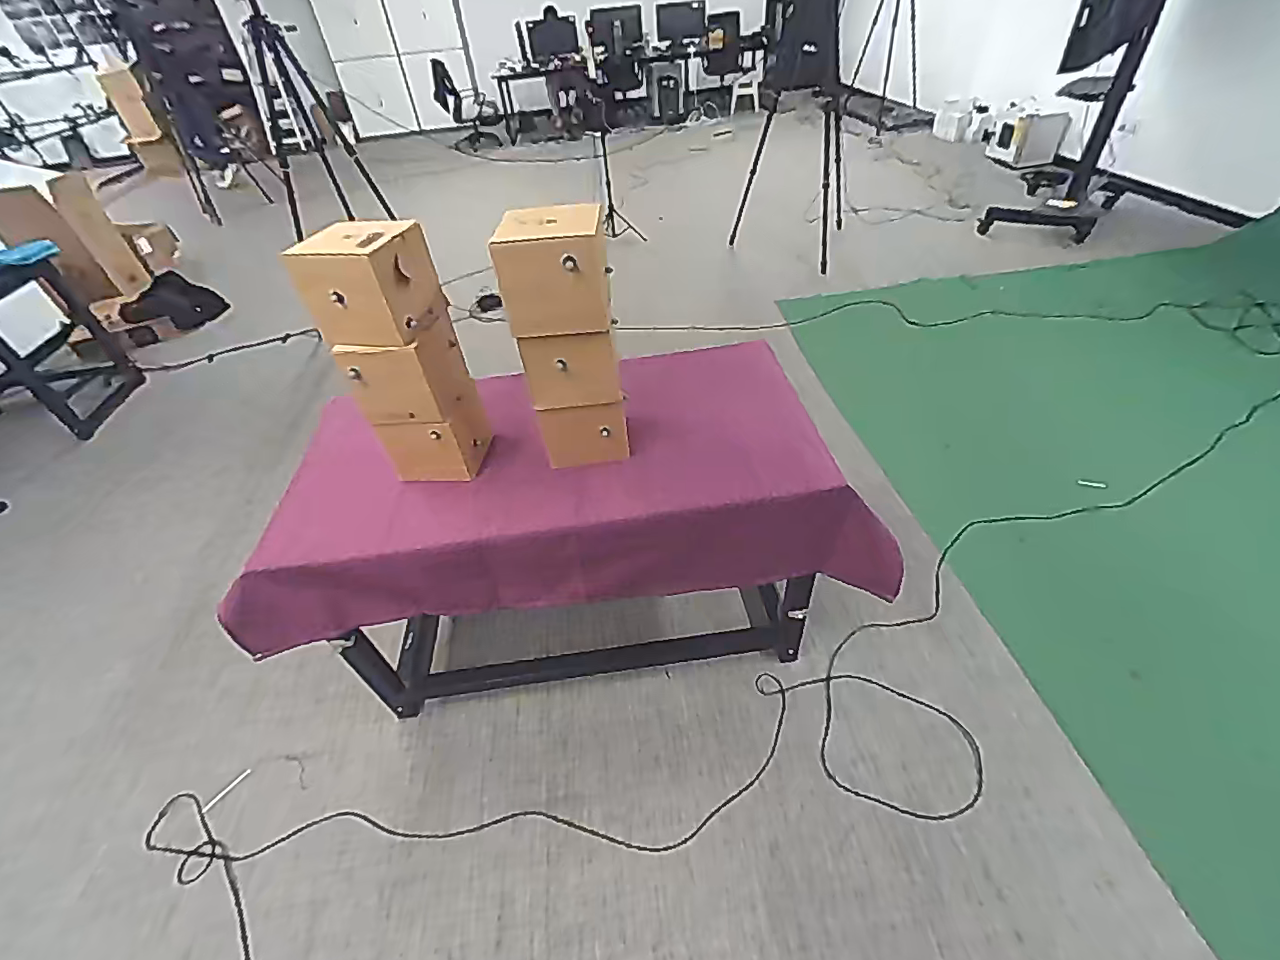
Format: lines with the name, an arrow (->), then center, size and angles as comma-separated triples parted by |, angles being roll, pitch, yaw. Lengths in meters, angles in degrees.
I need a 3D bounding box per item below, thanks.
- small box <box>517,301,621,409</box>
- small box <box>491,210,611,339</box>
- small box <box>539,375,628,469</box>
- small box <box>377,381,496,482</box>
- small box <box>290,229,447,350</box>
small box -> -0.137, -0.260, 1.107 | 0.179, 0.176, 0.168 | -6, 42, 2
small box -> -0.149, -0.372, 0.985 | 0.179, 0.176, 0.168 | -4, 41, 4
small box -> -0.120, -0.145, 1.222 | 0.179, 0.176, 0.168 | -7, 41, 1
small box -> -0.451, -0.107, 1.228 | 0.179, 0.176, 0.168 | 0, 43, 7
small box -> -0.495, -0.358, 1.019 | 0.179, 0.176, 0.168 | 4, 42, 13
